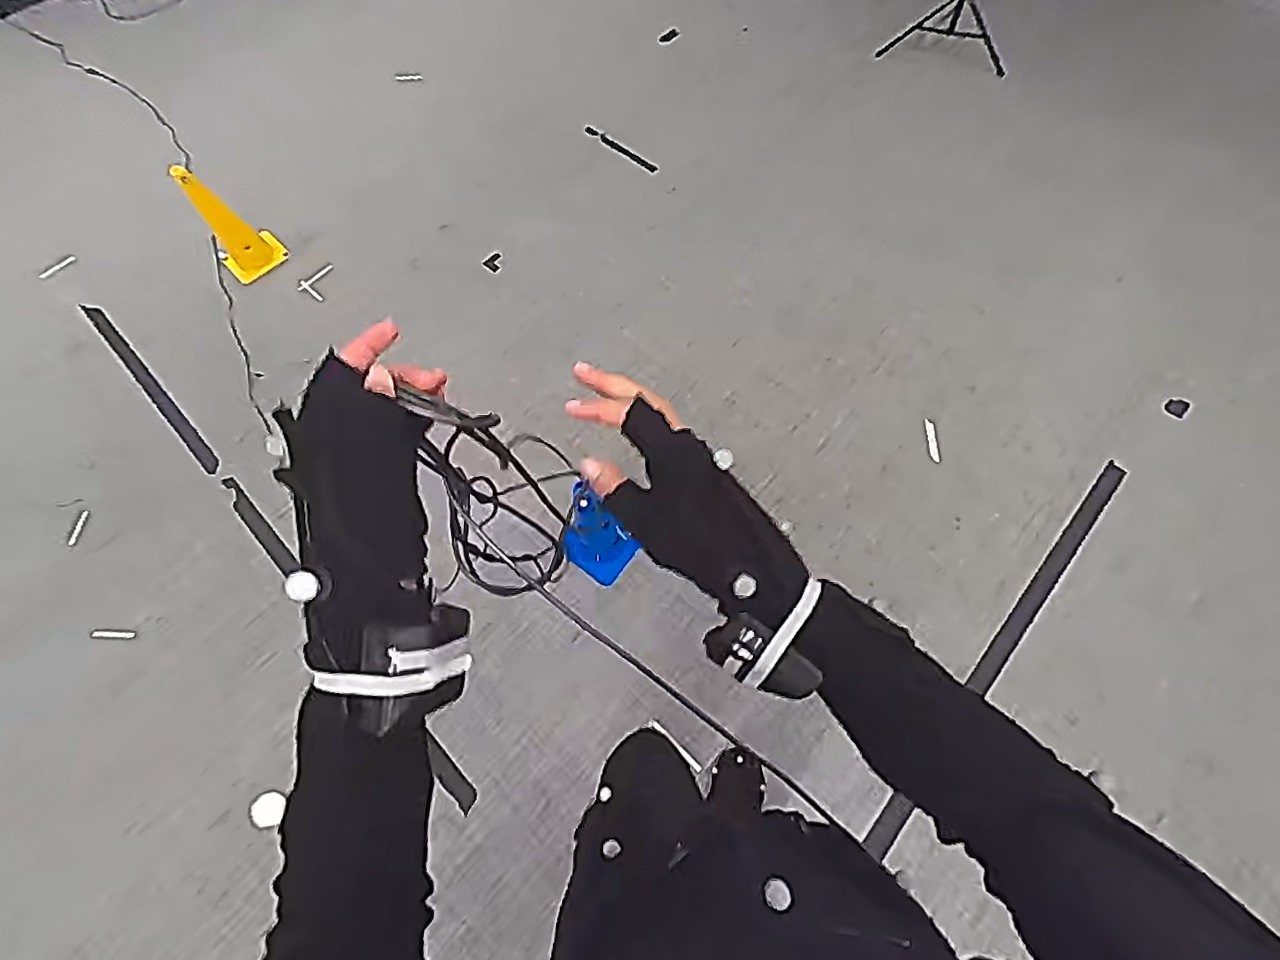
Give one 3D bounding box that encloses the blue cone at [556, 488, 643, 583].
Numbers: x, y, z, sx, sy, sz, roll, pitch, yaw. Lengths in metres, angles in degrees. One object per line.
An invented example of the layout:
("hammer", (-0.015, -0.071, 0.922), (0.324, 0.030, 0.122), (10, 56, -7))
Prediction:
("blue cone", (-0.120, 0.099, 1.329), (0.193, 0.380, 0.192), (34, 73, 17))
